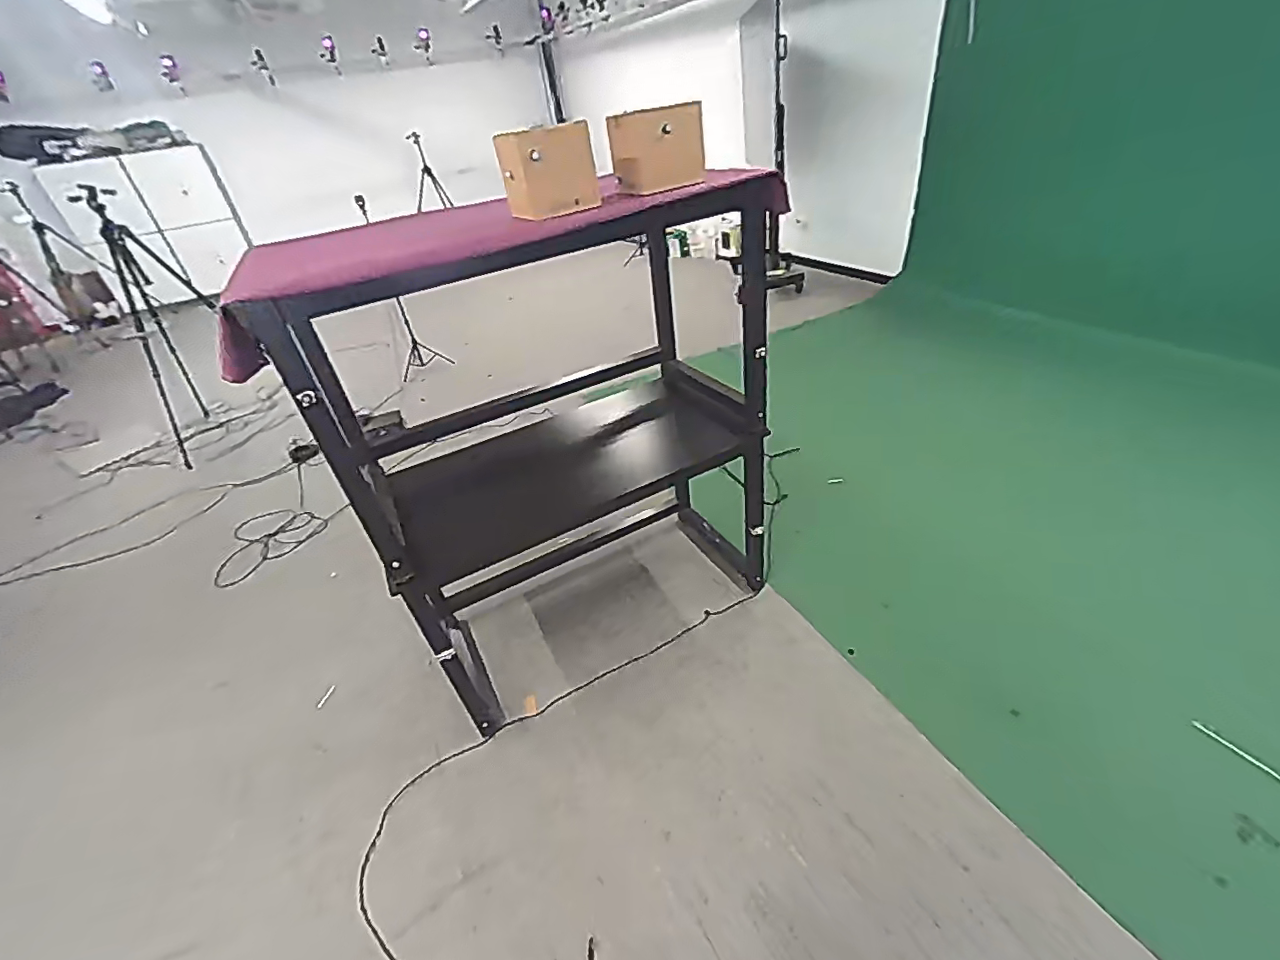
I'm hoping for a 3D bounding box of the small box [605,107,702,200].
[{"bbox_3d":[0.037,-0.794,1.324,0.179,0.176,0.168,-22,36,-19],"label":"small box"}]
